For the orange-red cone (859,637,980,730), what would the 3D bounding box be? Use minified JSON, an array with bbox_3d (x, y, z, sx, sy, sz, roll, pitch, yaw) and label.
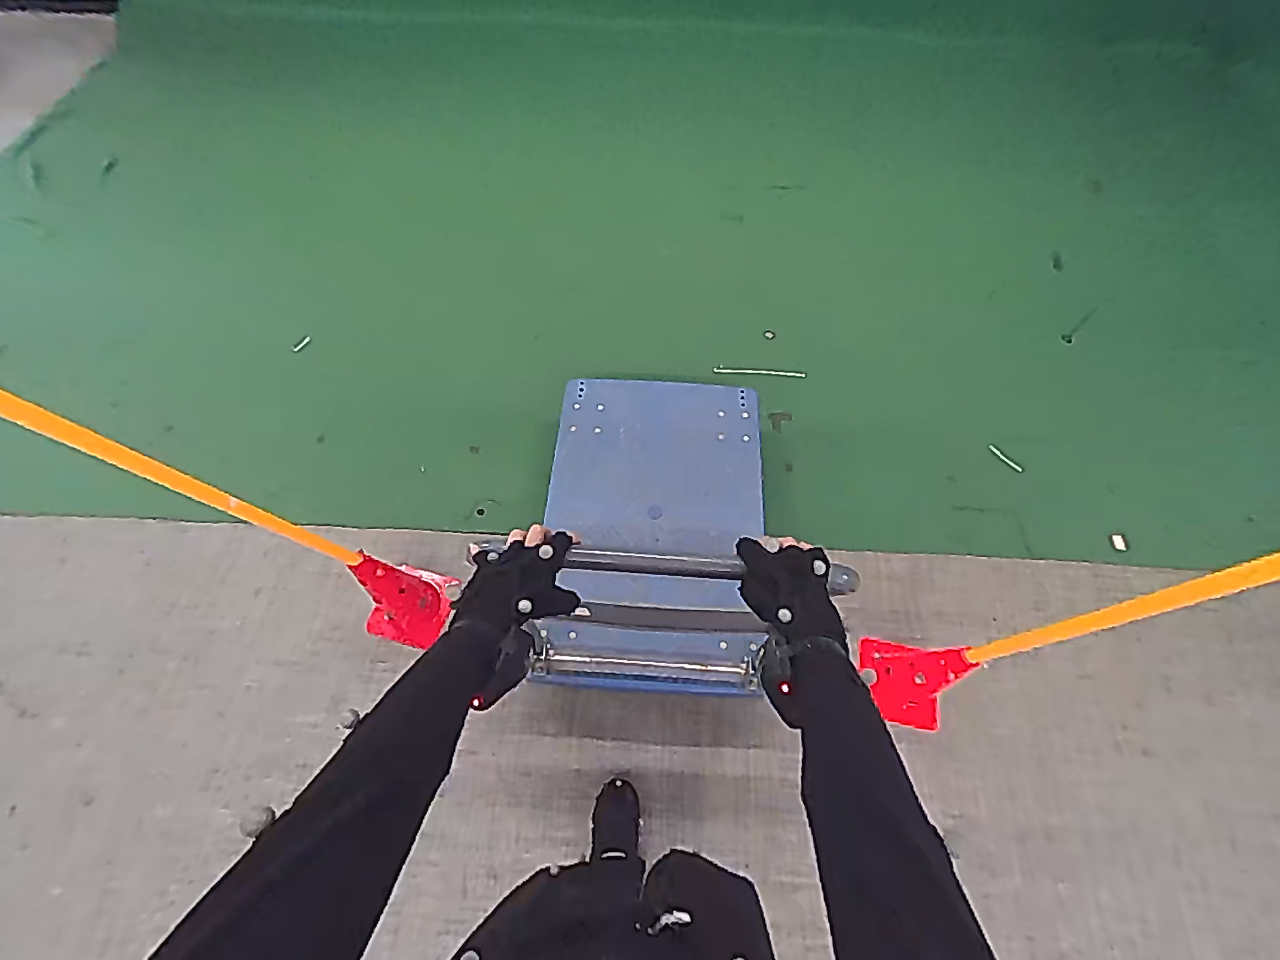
[{"bbox_3d":[0.664,0.436,1.234,0.198,0.360,0.199,12,62,7],"label":"orange-red cone"}]
